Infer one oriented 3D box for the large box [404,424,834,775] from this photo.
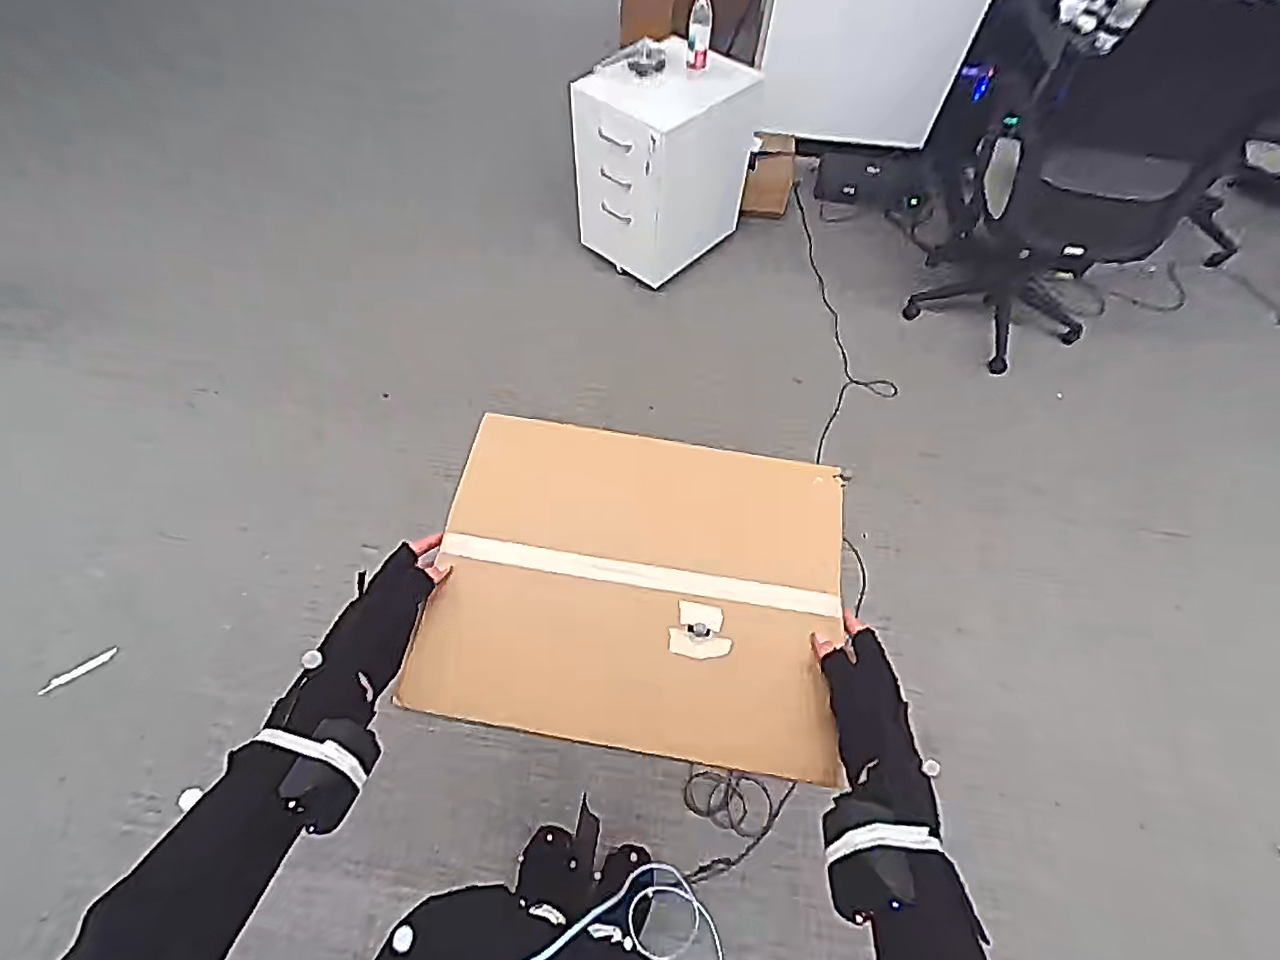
[{"bbox_3d":[-0.008,0.162,0.685,0.408,0.320,0.320,9,66,2],"label":"large box"}]
